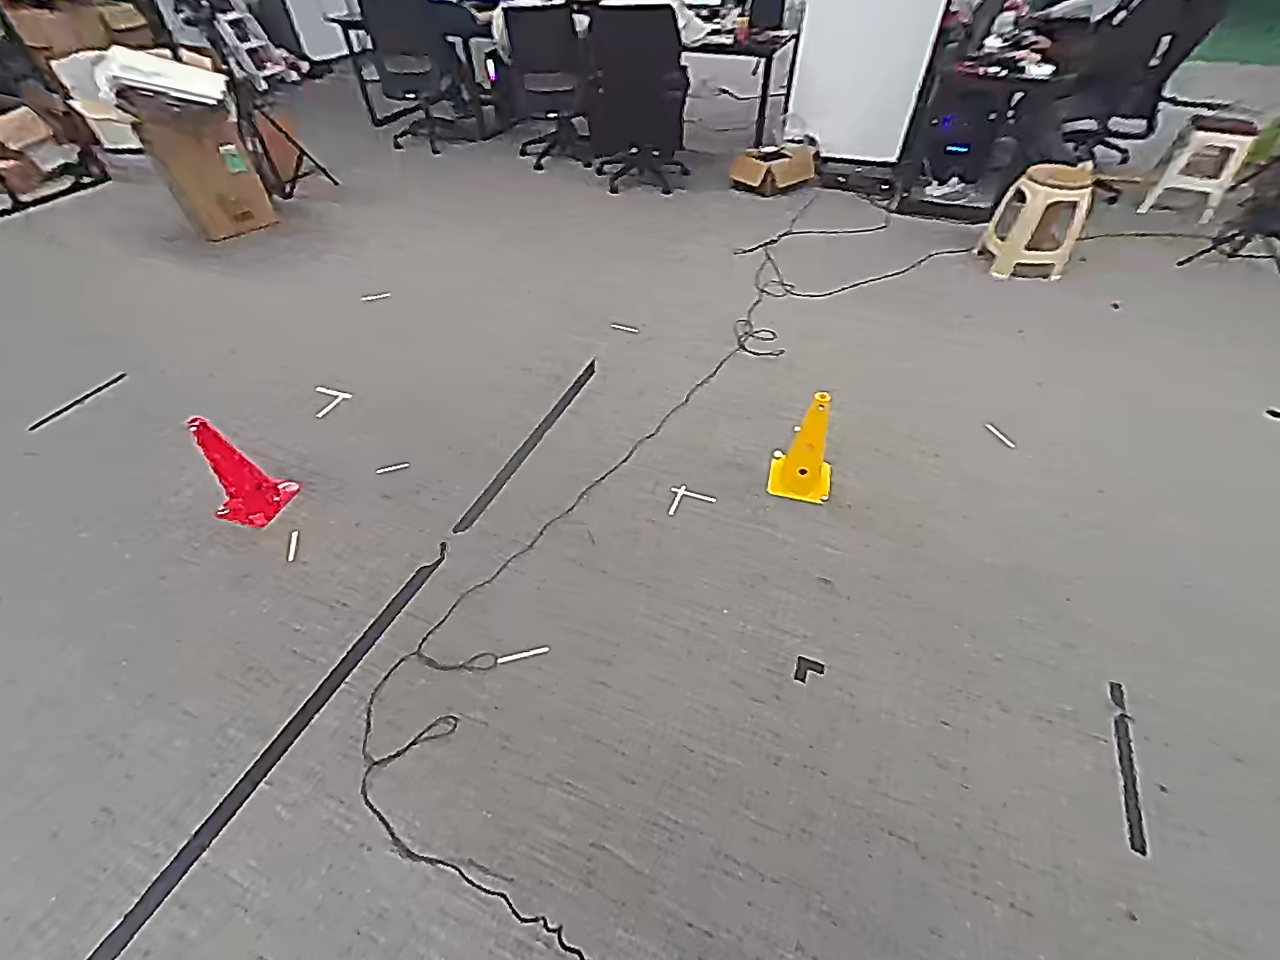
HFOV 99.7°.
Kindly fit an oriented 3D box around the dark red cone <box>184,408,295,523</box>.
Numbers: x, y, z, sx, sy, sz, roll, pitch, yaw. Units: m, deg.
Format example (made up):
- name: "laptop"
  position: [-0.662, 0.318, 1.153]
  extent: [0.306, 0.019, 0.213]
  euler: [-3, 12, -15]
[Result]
- name: "dark red cone"
  position: [-1.290, -0.059, 1.687]
  extent: [0.201, 0.394, 0.202]
  euler: [11, 48, 10]
